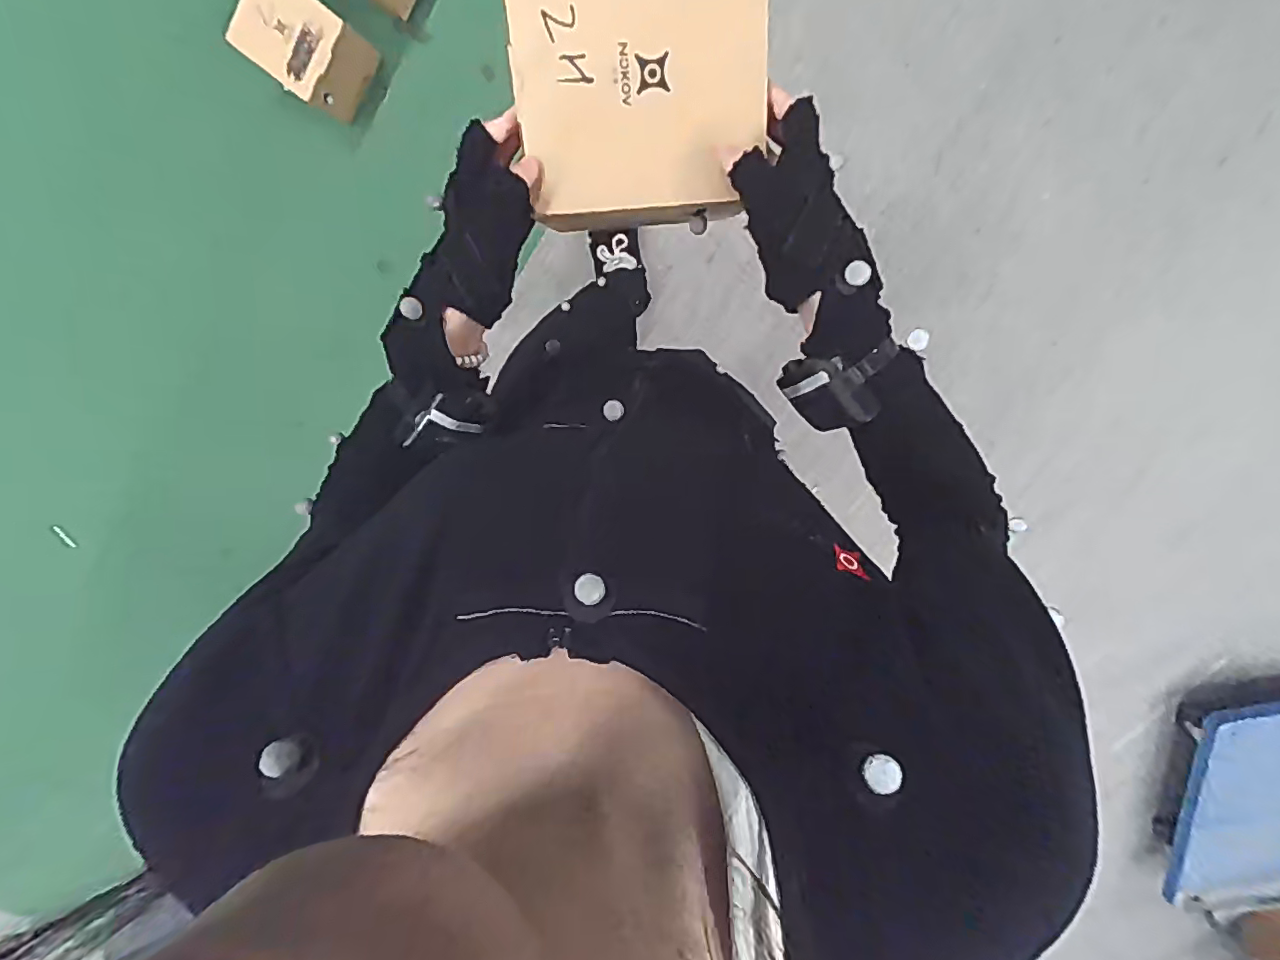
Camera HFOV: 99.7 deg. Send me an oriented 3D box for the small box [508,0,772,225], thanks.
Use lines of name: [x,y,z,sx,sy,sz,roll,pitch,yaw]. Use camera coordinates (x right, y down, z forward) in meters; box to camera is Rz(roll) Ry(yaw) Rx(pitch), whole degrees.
small box: [0.000,-0.307,0.441,0.179,0.176,0.168,-4,111,0]

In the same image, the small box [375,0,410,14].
small box: [-0.534,-1.065,1.042,0.179,0.176,0.168,33,105,-13]
